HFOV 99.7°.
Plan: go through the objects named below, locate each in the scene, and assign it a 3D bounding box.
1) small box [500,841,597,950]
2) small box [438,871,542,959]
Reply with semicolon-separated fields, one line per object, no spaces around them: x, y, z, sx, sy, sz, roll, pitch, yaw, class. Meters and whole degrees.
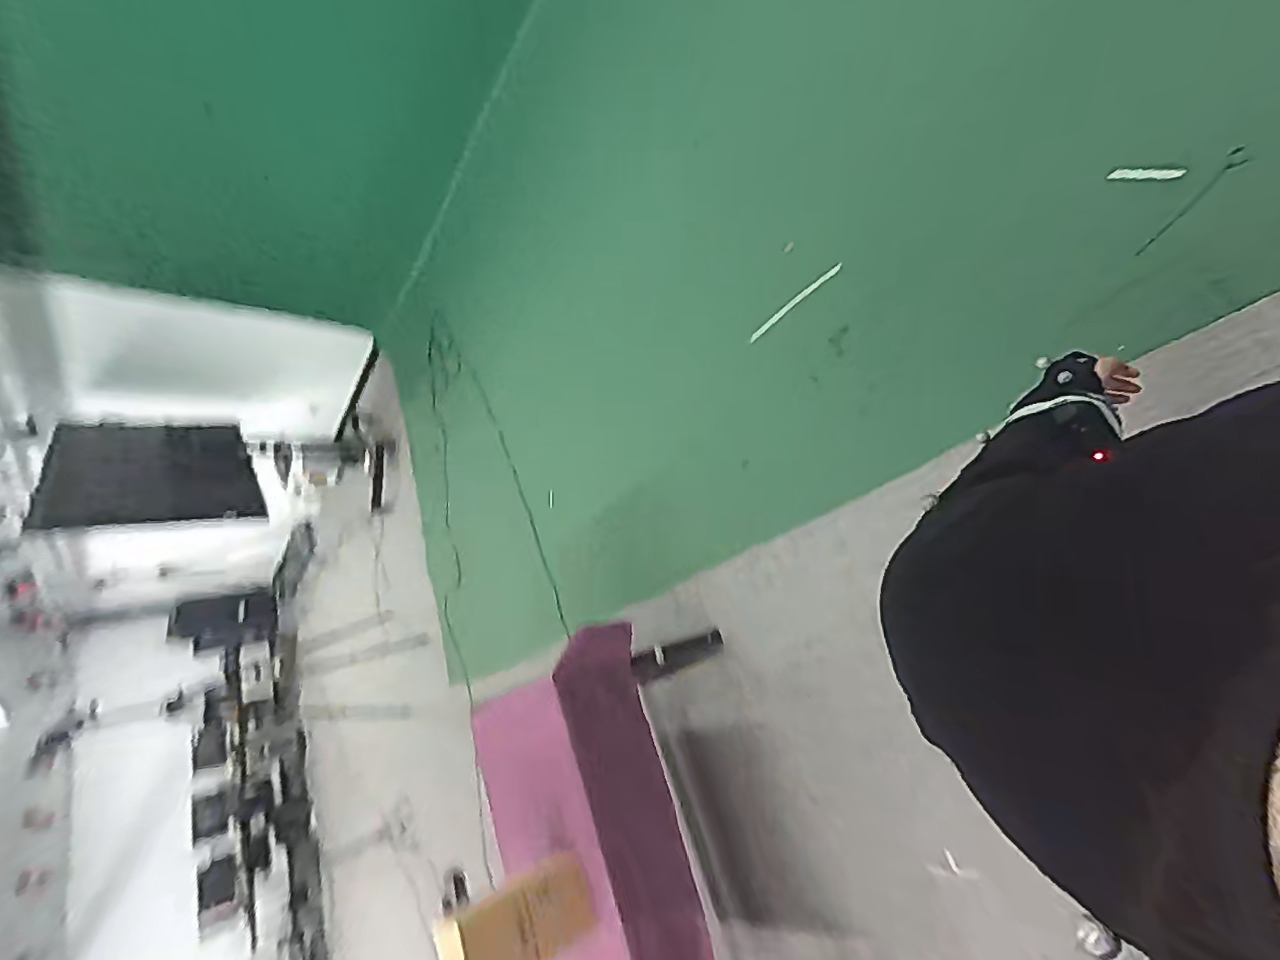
-0.238;1.067;1.407;0.168;0.176;0.179;-40;62;42;small box
-0.360;1.072;1.299;0.179;0.176;0.168;-41;63;40;small box
